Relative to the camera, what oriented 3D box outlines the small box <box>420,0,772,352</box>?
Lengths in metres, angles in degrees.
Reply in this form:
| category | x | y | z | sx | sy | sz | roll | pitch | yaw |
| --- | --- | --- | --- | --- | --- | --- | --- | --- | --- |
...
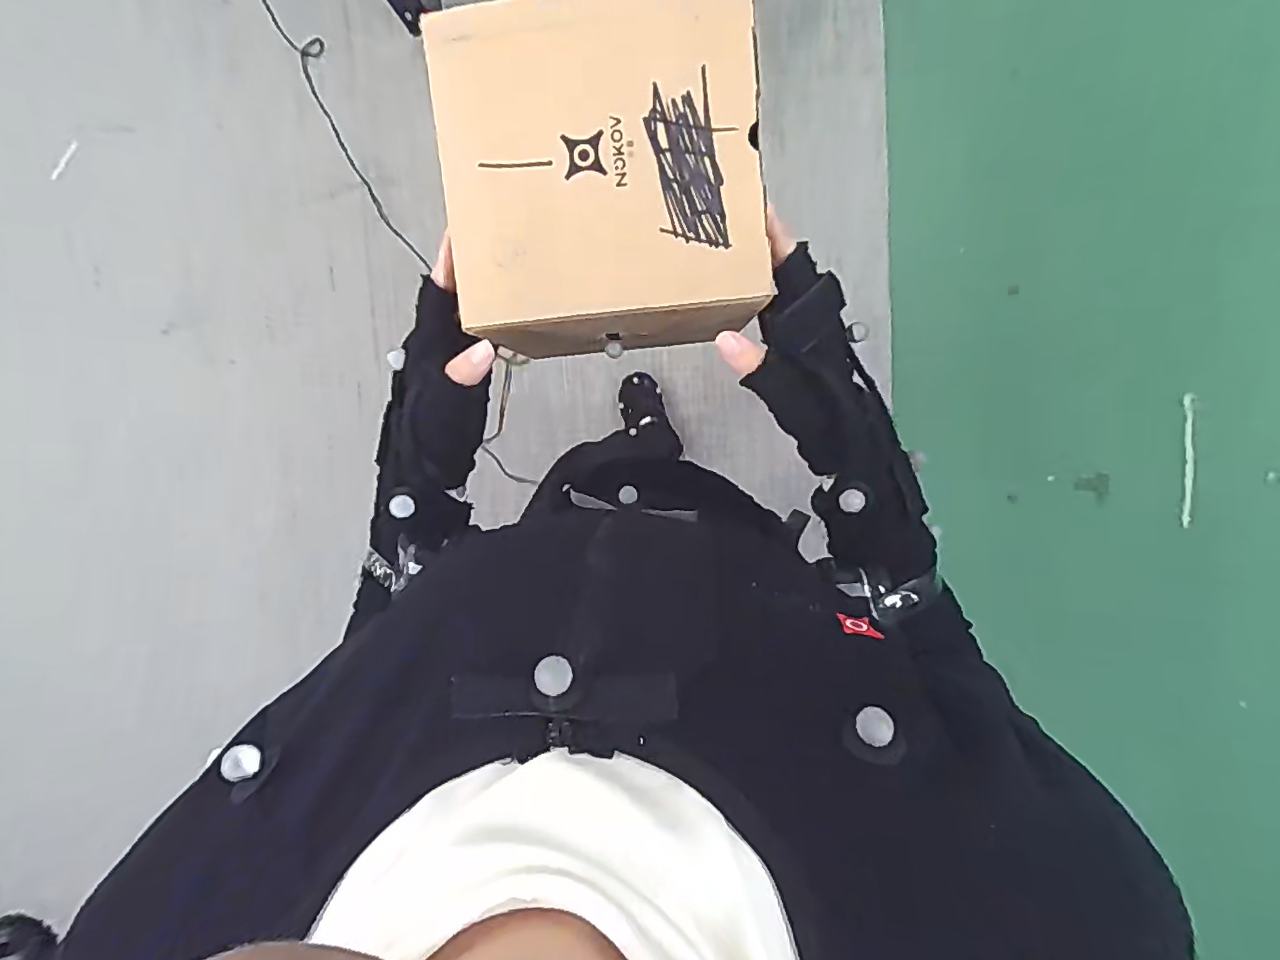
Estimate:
| category | x | y | z | sx | sy | sz | roll | pitch | yaw |
| --- | --- | --- | --- | --- | --- | --- | --- | --- | --- |
| small box | -0.021 | -0.188 | 0.374 | 0.179 | 0.176 | 0.168 | -8 | 97 | 2 |

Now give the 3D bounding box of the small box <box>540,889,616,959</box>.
| category | x | y | z | sx | sy | sz | roll | pitch | yaw |
| --- | --- | --- | --- | --- | --- | --- | --- | --- | --- |
| small box | -0.157 | 1.214 | 1.411 | 0.168 | 0.176 | 0.179 | -3 | 94 | 6 |
